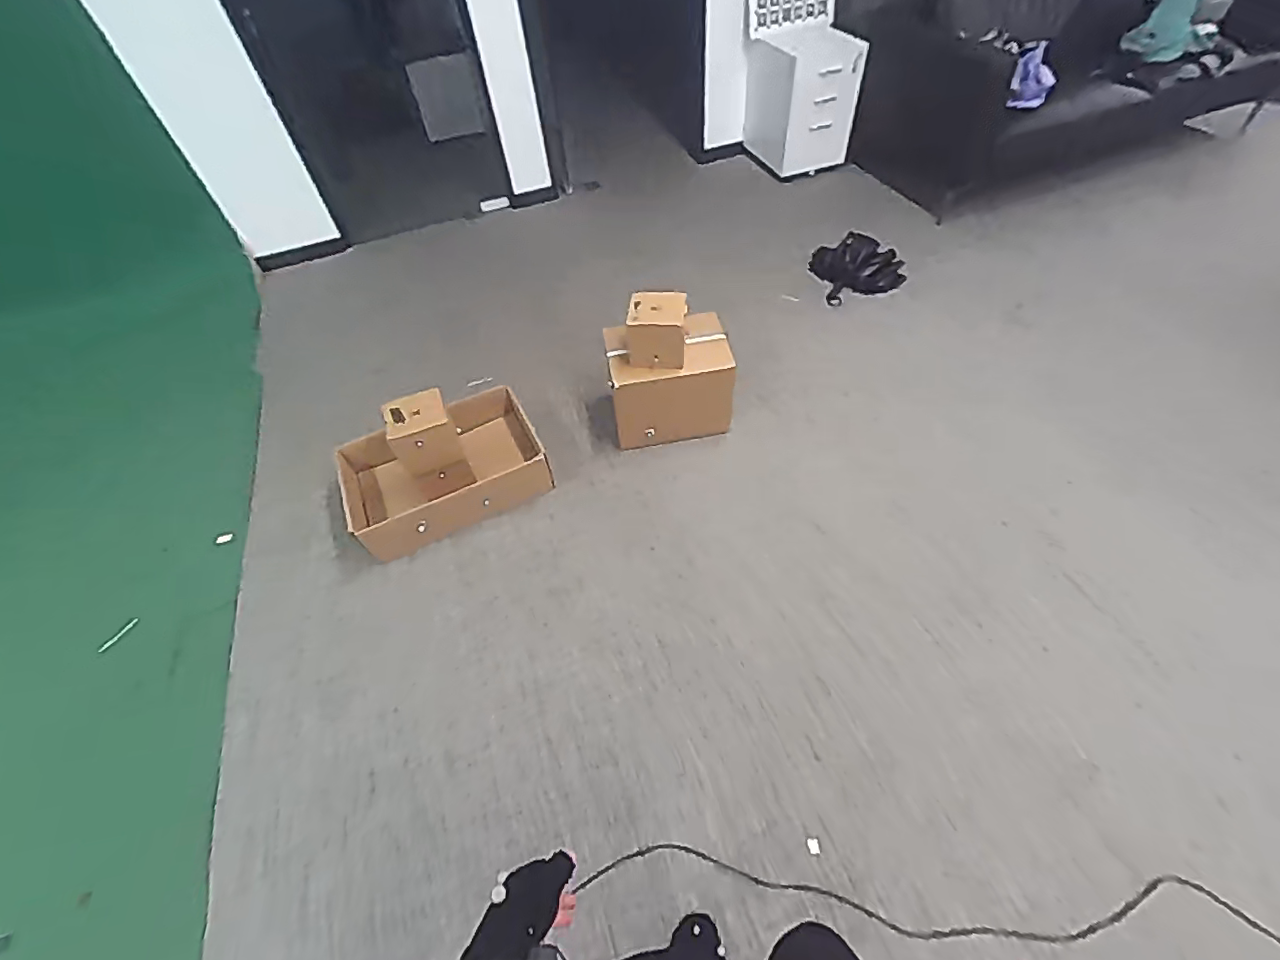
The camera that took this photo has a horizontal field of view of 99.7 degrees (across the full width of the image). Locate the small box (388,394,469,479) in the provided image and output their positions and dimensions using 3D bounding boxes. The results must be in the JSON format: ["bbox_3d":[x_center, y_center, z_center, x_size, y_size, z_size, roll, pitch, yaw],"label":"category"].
[{"bbox_3d":[-0.649,-0.130,1.665,0.179,0.176,0.168,-20,53,-12],"label":"small box"}]

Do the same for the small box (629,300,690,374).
[{"bbox_3d":[0.067,-0.456,1.732,0.179,0.176,0.168,3,52,7],"label":"small box"}]

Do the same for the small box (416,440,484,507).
[{"bbox_3d":[-0.644,-0.036,1.800,0.179,0.176,0.168,-22,53,-14],"label":"small box"}]
